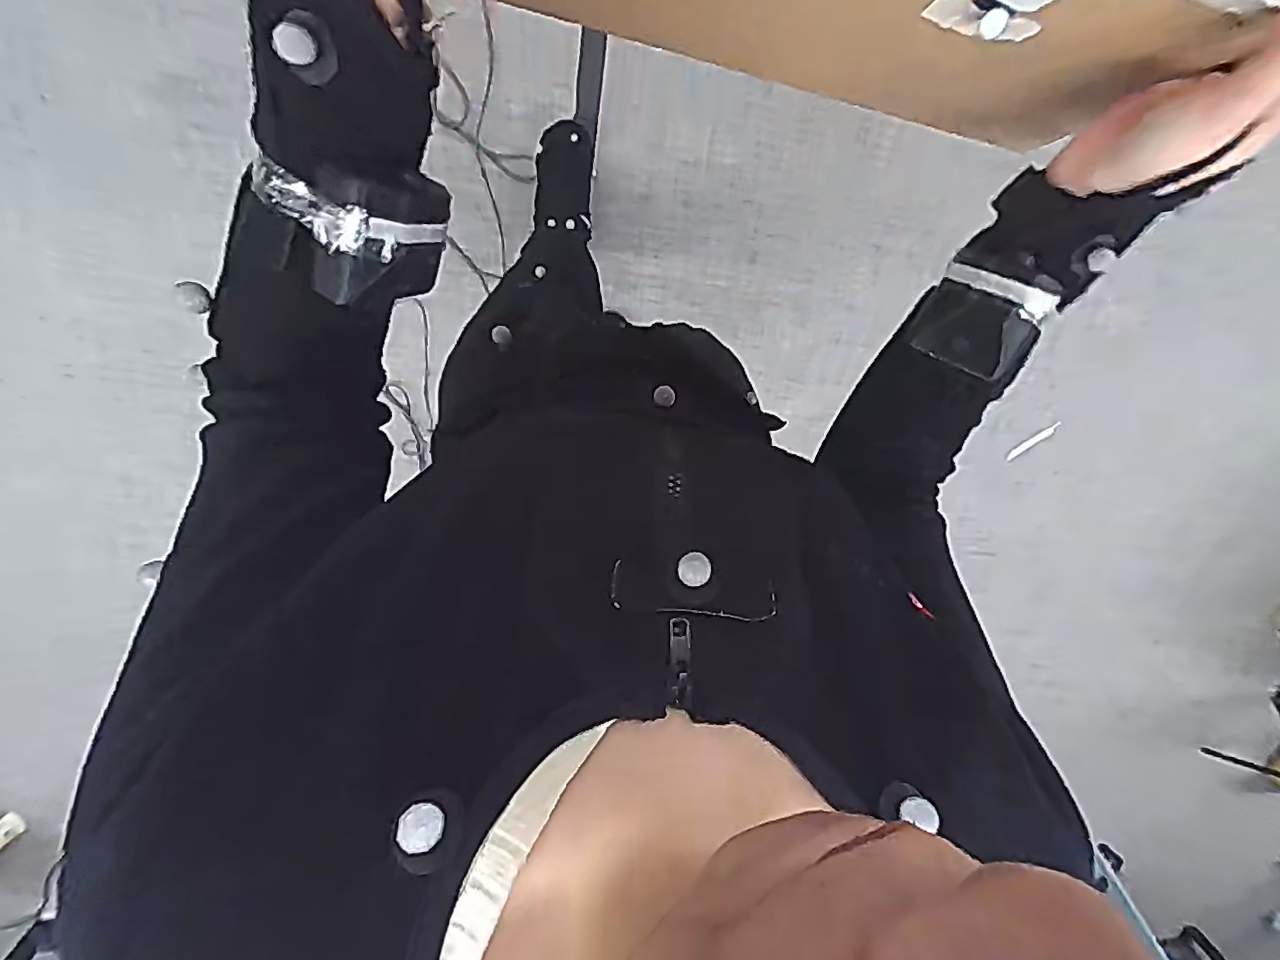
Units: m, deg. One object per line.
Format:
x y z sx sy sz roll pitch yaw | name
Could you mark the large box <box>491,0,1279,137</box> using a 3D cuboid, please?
0.128 -0.389 0.186 0.408 0.320 0.320 4 100 -14 | large box
